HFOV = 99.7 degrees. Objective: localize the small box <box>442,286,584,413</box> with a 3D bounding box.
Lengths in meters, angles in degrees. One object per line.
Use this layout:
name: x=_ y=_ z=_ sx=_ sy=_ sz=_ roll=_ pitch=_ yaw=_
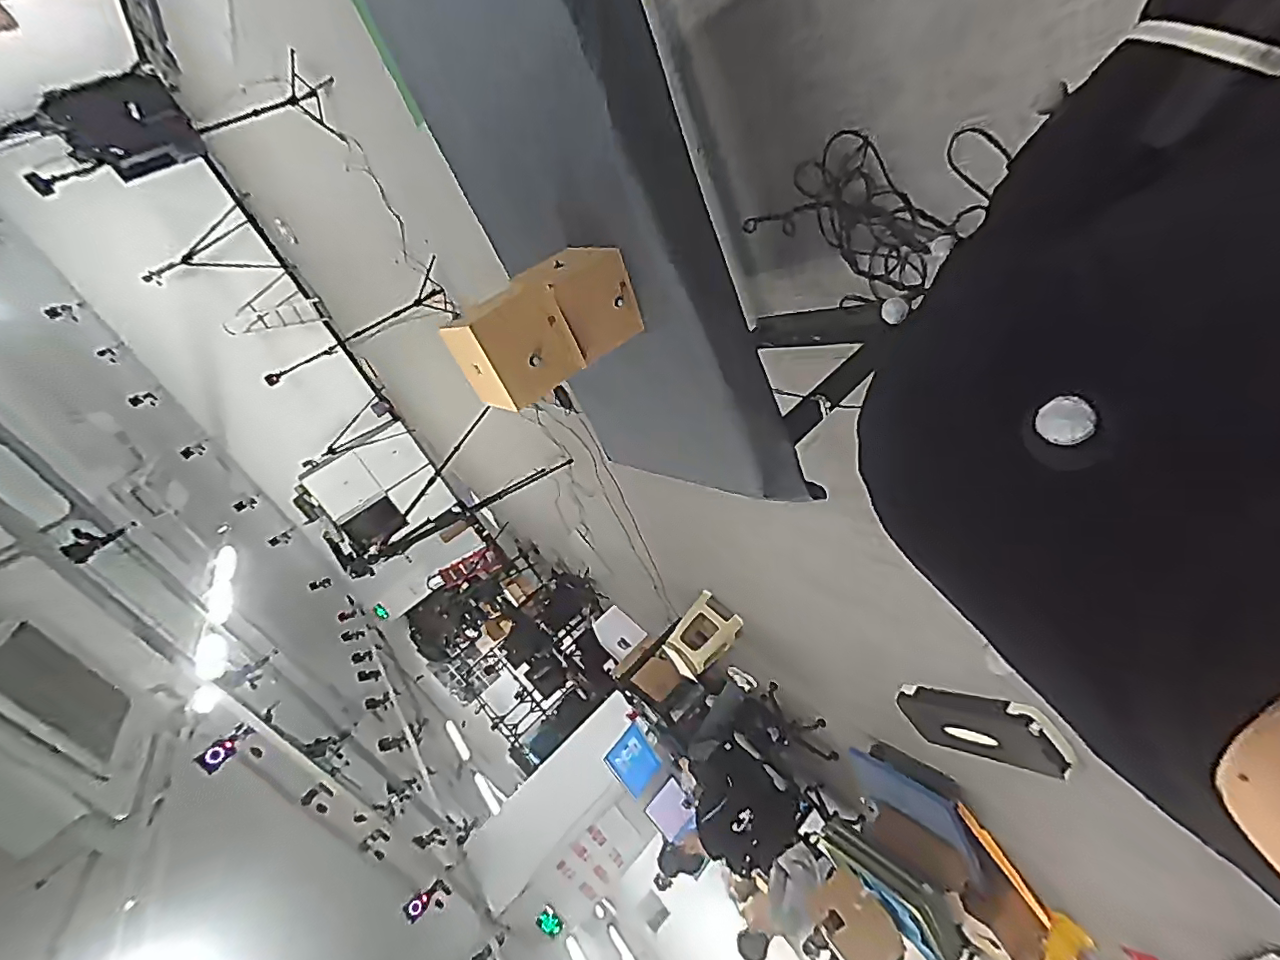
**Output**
small box: x=-0.227 y=-0.244 z=1.000 sx=0.179 sy=0.176 sz=0.168 roll=19 pitch=142 yaw=52
